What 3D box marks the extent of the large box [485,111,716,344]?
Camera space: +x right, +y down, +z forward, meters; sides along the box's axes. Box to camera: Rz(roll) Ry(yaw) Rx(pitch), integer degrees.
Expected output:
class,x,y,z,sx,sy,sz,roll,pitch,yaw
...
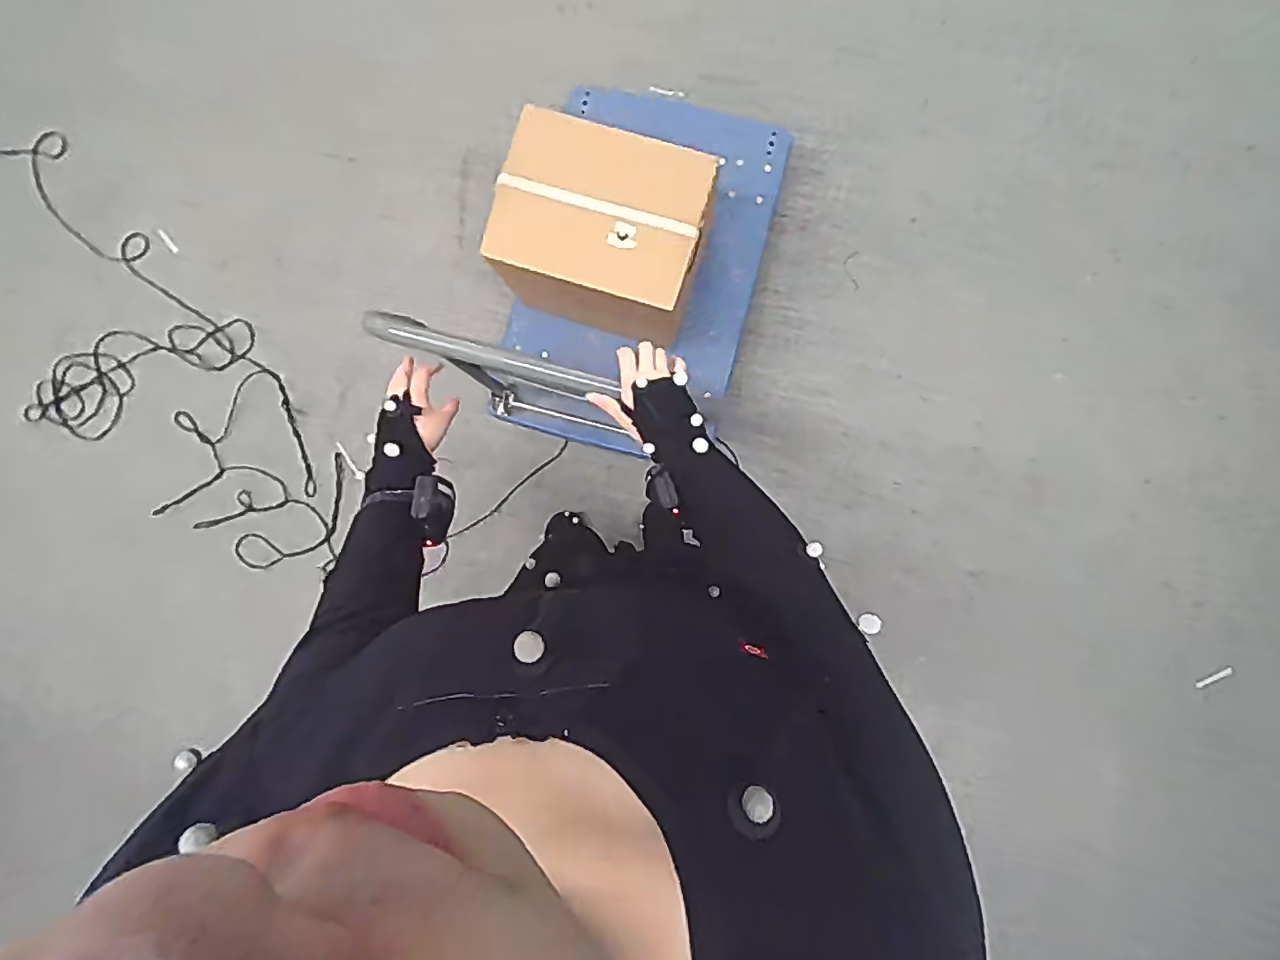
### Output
class,x,y,z,sx,sy,sz,roll,pitch,yaw
large box,-0.077,-0.539,1.221,0.408,0.320,0.320,17,90,2
